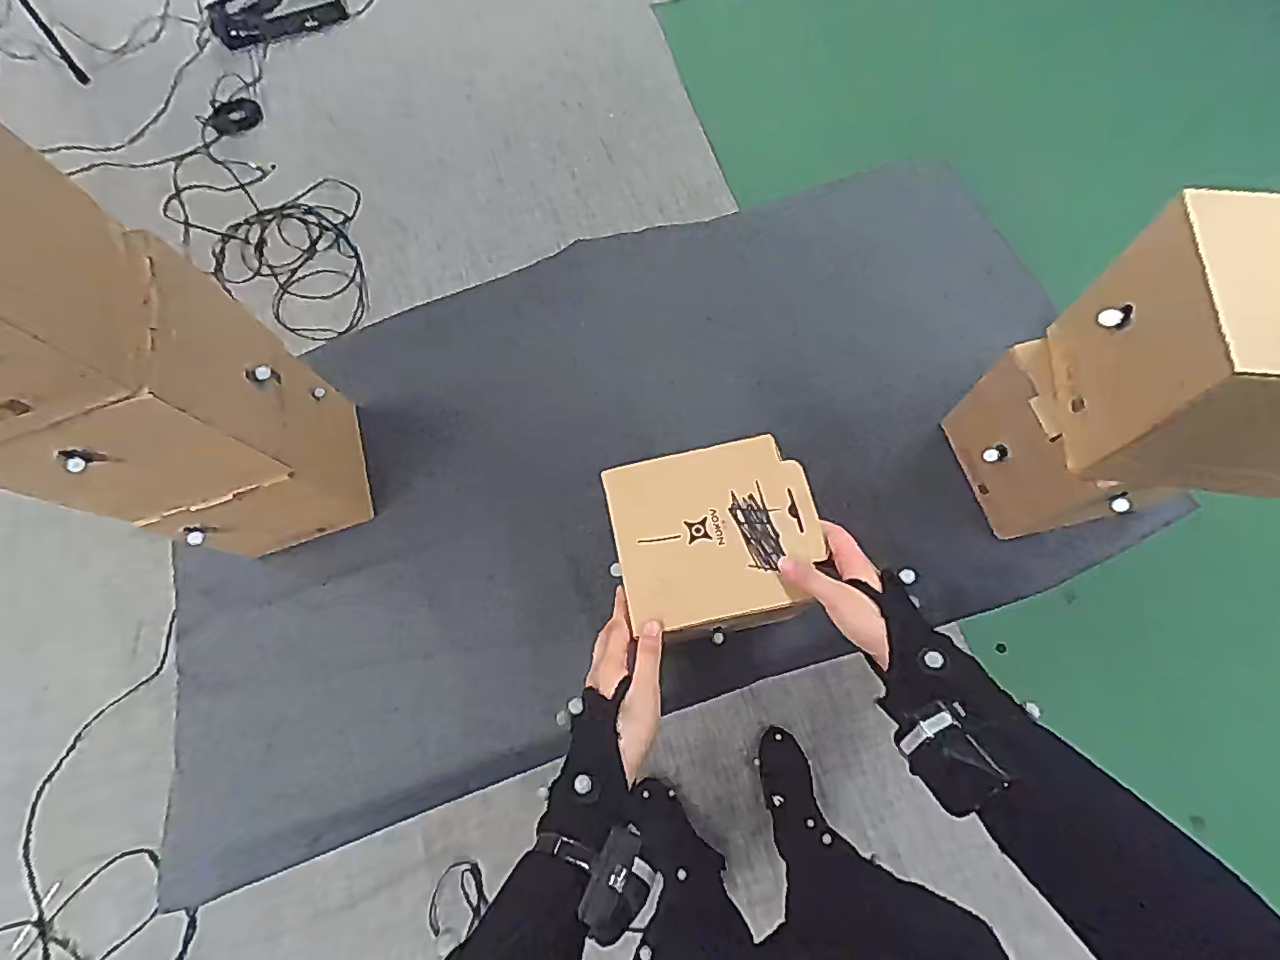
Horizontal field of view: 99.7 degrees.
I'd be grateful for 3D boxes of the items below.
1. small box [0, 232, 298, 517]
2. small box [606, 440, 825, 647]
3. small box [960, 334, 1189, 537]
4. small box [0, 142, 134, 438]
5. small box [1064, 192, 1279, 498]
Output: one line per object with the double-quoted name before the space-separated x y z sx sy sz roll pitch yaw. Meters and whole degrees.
"small box" -0.454 -0.080 0.492 0.179 0.176 0.168 -18 72 -3
"small box" 0.070 0.077 0.577 0.179 0.176 0.168 -12 69 1
"small box" 0.484 -0.049 0.587 0.179 0.176 0.168 -13 68 0
"small box" -0.471 -0.130 0.338 0.168 0.176 0.179 -21 70 -5
"small box" 0.479 -0.095 0.430 0.179 0.176 0.168 7 69 7
